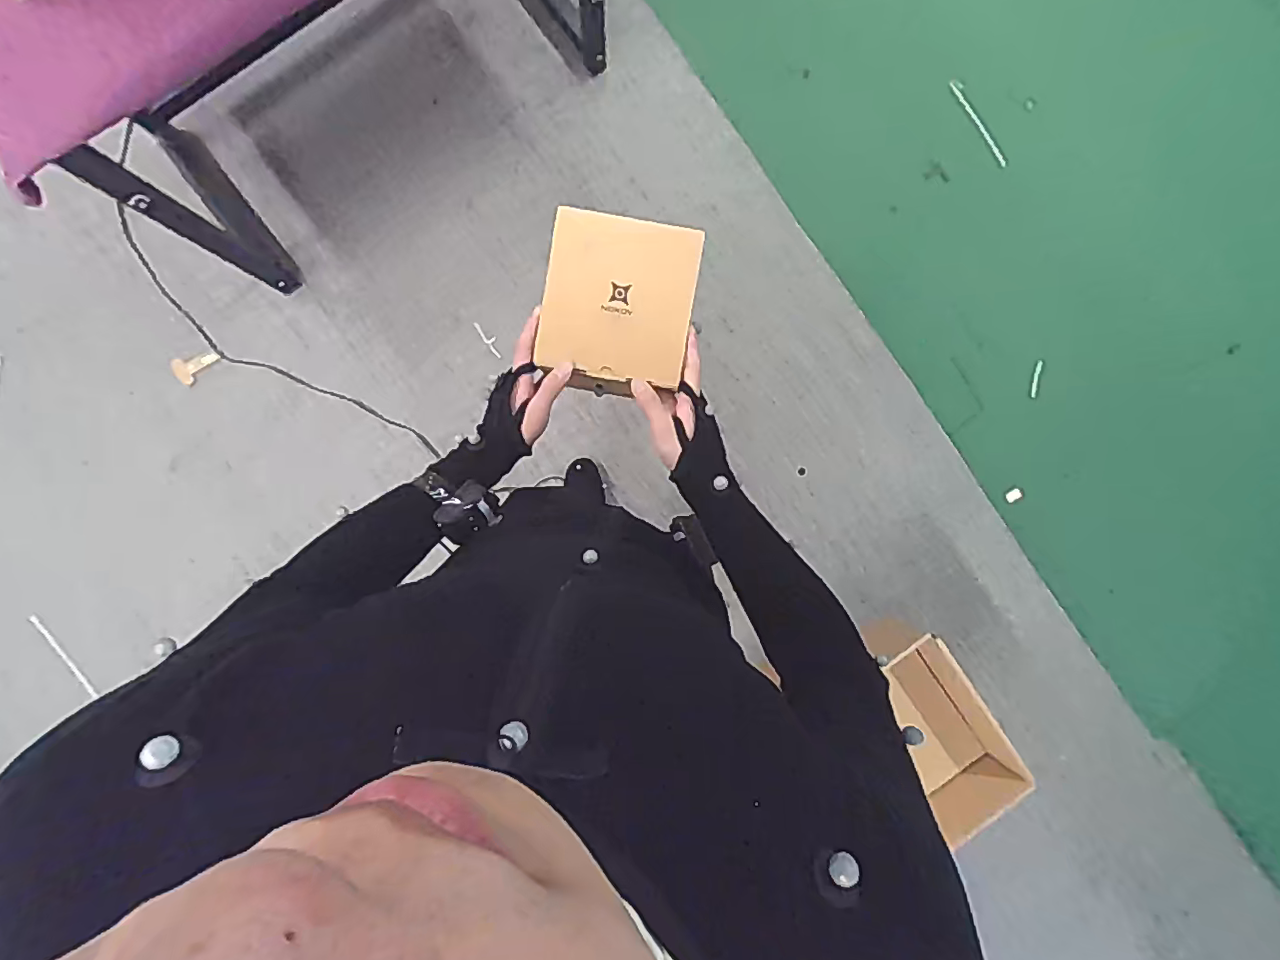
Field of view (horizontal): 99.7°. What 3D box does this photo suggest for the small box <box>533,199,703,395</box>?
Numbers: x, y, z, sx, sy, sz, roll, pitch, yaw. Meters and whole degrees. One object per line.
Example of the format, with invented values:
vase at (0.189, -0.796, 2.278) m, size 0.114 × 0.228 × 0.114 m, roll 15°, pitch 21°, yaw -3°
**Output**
small box at (-0.027, -0.211, 0.668) m, size 0.168 × 0.176 × 0.179 m, roll 9°, pitch 94°, yaw -2°
